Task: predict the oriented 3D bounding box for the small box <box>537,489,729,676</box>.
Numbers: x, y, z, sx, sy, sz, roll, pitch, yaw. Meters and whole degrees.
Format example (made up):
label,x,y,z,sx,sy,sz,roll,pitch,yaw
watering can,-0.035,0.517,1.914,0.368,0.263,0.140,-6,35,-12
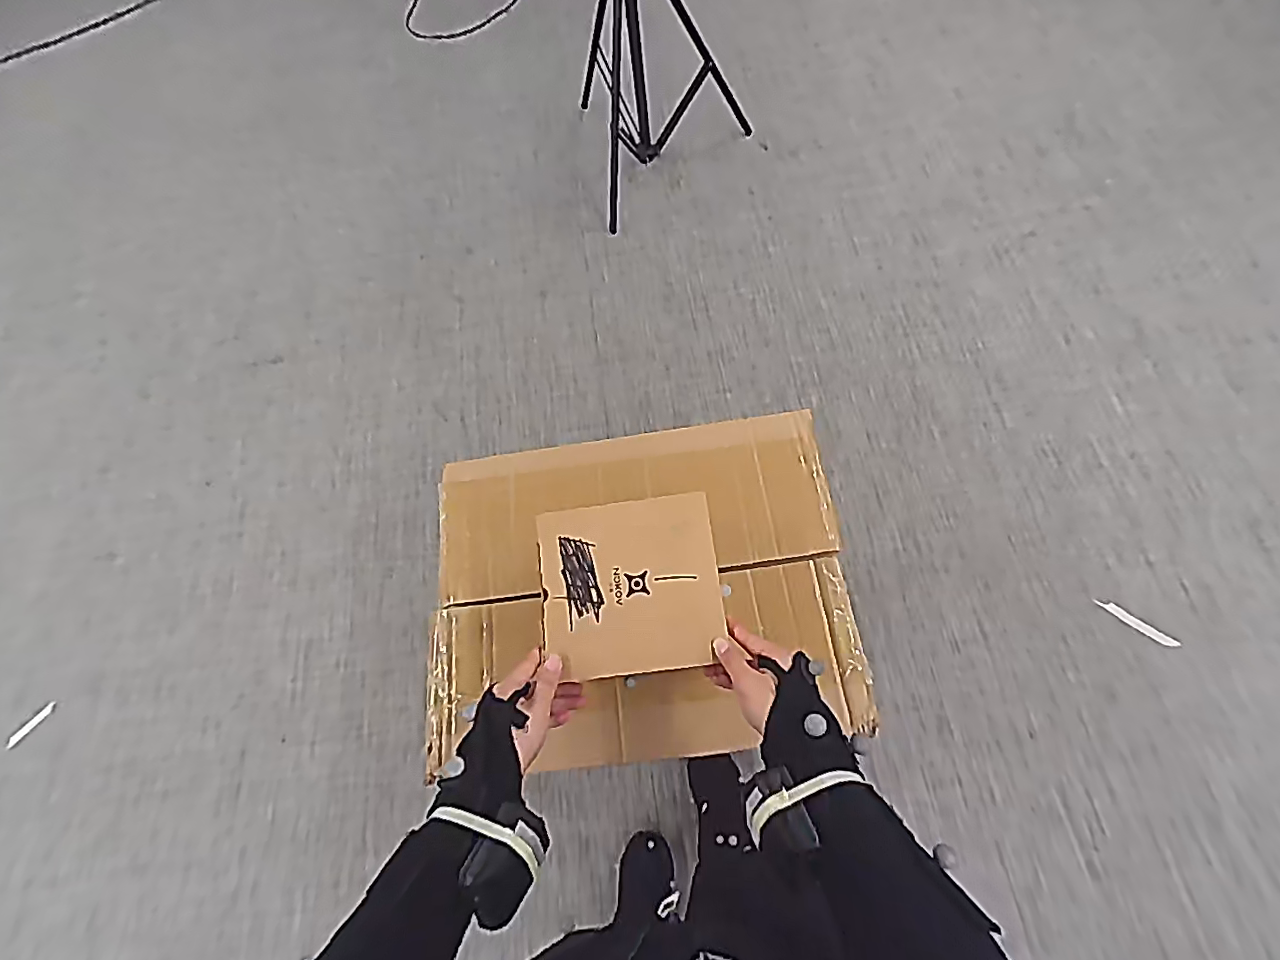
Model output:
label,x,y,z,sx,sy,sz,roll,pitch,yaw
small box,-0.003,0.122,0.595,0.179,0.176,0.168,-8,71,3
